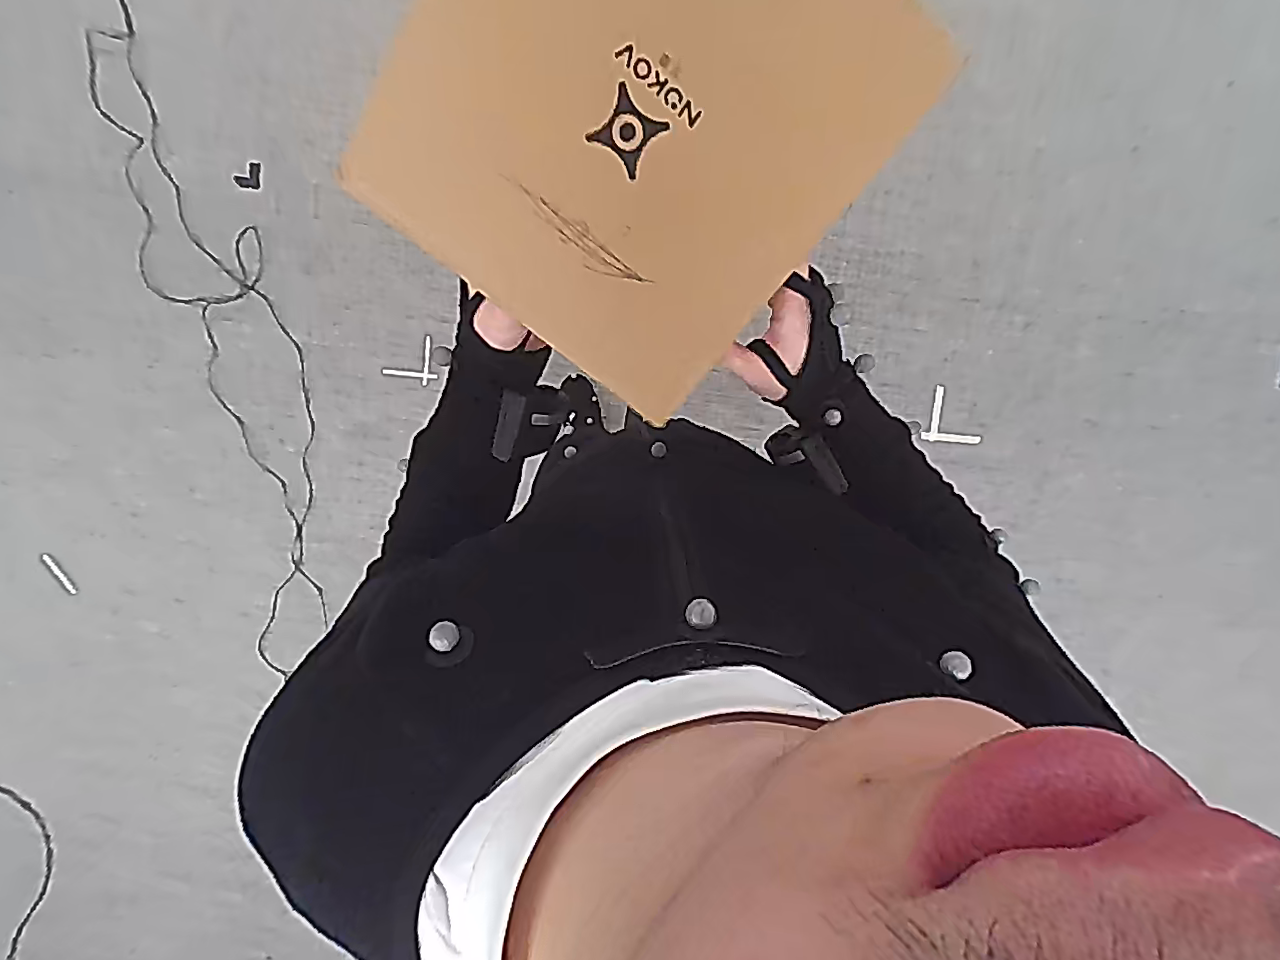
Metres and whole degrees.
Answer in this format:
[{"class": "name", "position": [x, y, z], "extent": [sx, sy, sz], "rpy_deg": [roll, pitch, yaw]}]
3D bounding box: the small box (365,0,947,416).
[{"class": "small box", "position": [0.003, -0.170, 0.283], "extent": [0.168, 0.176, 0.179], "rpy_deg": [34, 113, -12]}]
